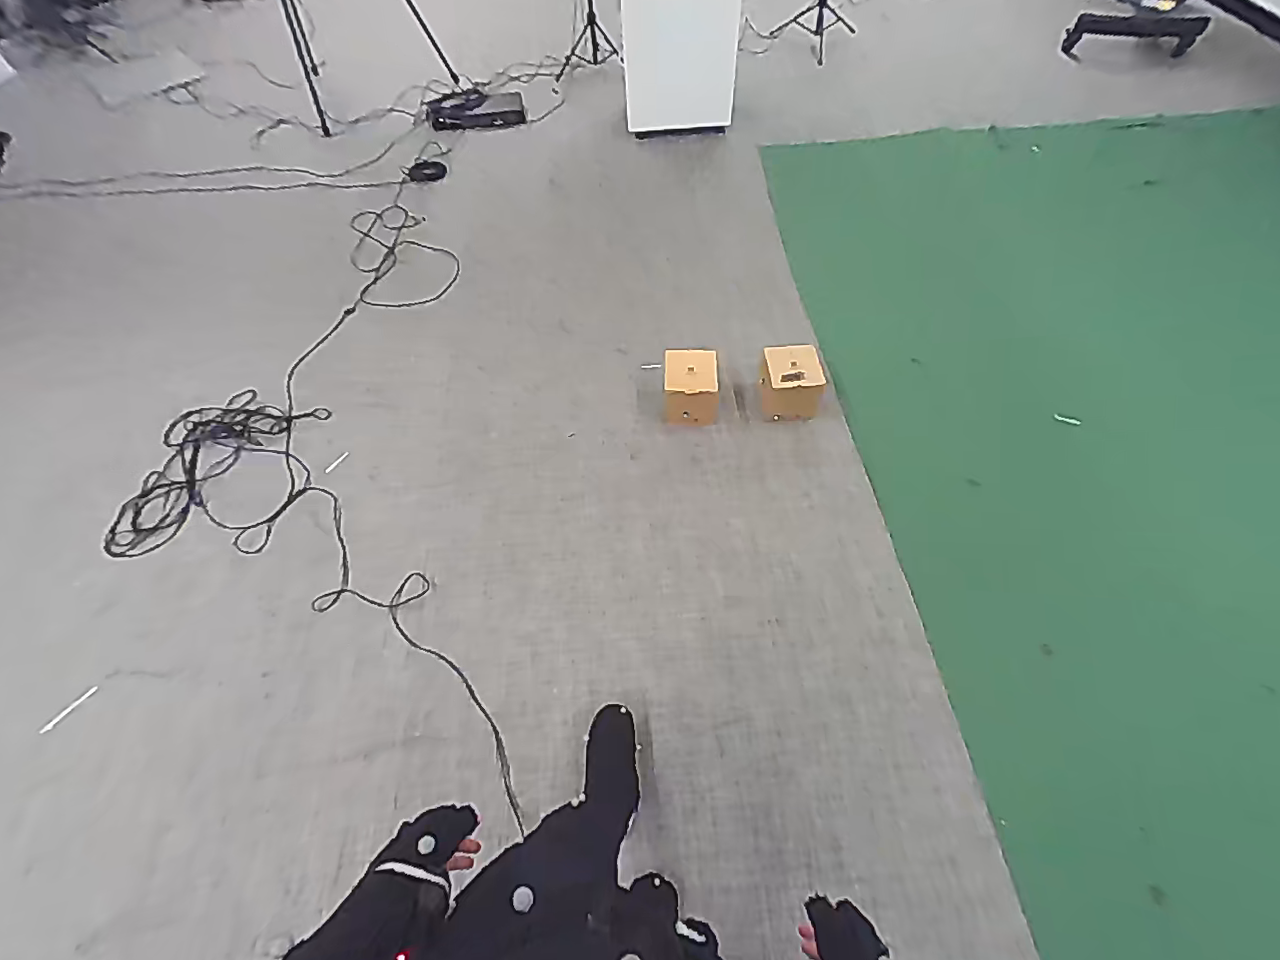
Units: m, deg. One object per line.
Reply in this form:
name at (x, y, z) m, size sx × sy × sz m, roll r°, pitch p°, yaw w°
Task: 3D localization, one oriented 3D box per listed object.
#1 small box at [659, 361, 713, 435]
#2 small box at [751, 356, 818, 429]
small box at (0.146, -0.268, 1.768) m, size 0.168 × 0.176 × 0.179 m, roll 0°, pitch 58°, yaw 2°
small box at (0.465, -0.279, 1.766) m, size 0.168 × 0.176 × 0.179 m, roll -4°, pitch 57°, yaw -1°
